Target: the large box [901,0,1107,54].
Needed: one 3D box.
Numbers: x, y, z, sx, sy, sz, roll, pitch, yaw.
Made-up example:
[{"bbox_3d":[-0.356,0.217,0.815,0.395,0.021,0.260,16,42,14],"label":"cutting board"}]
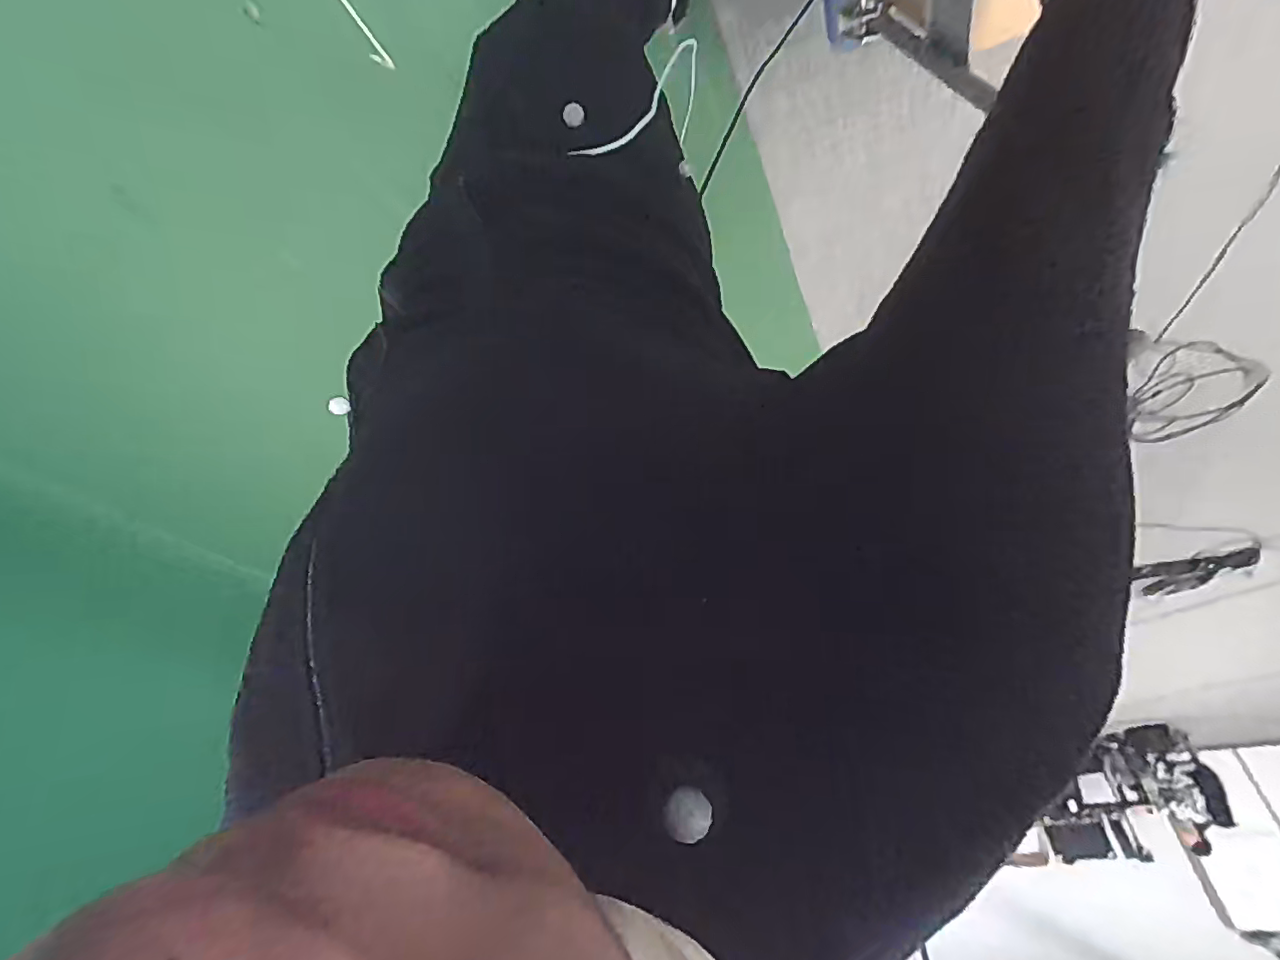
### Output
[{"bbox_3d":[0.595,-0.858,0.707,0.408,0.320,0.320,-13,141,14],"label":"large box"}]
